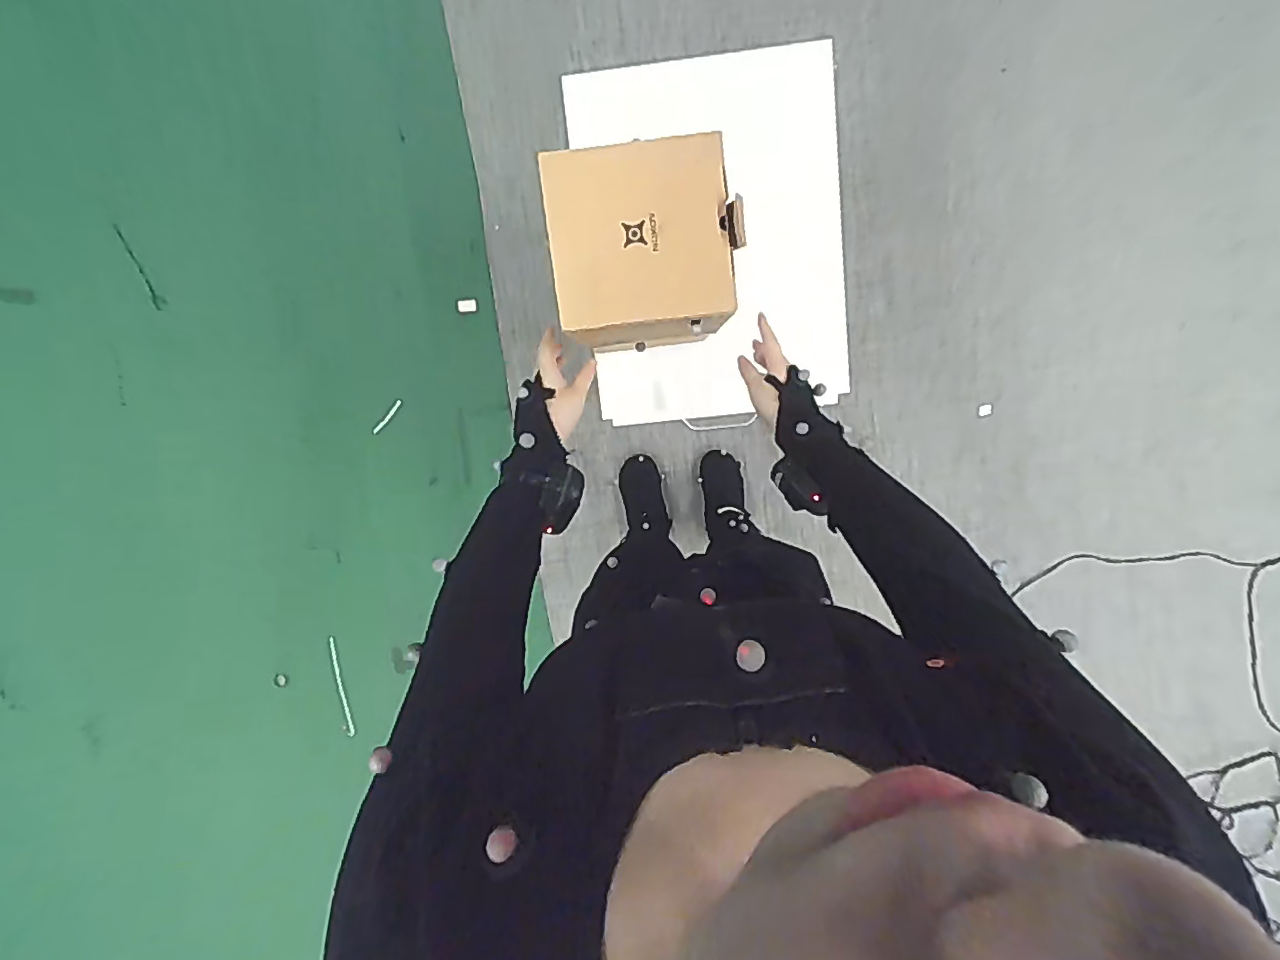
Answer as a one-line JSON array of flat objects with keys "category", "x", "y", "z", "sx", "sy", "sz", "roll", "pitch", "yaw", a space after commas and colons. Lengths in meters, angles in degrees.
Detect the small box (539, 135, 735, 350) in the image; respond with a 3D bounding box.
[{"category": "small box", "x": -0.001, "y": -0.243, "z": 0.596, "sx": 0.179, "sy": 0.176, "sz": 0.168, "roll": -7, "pitch": 97, "yaw": 1}]
